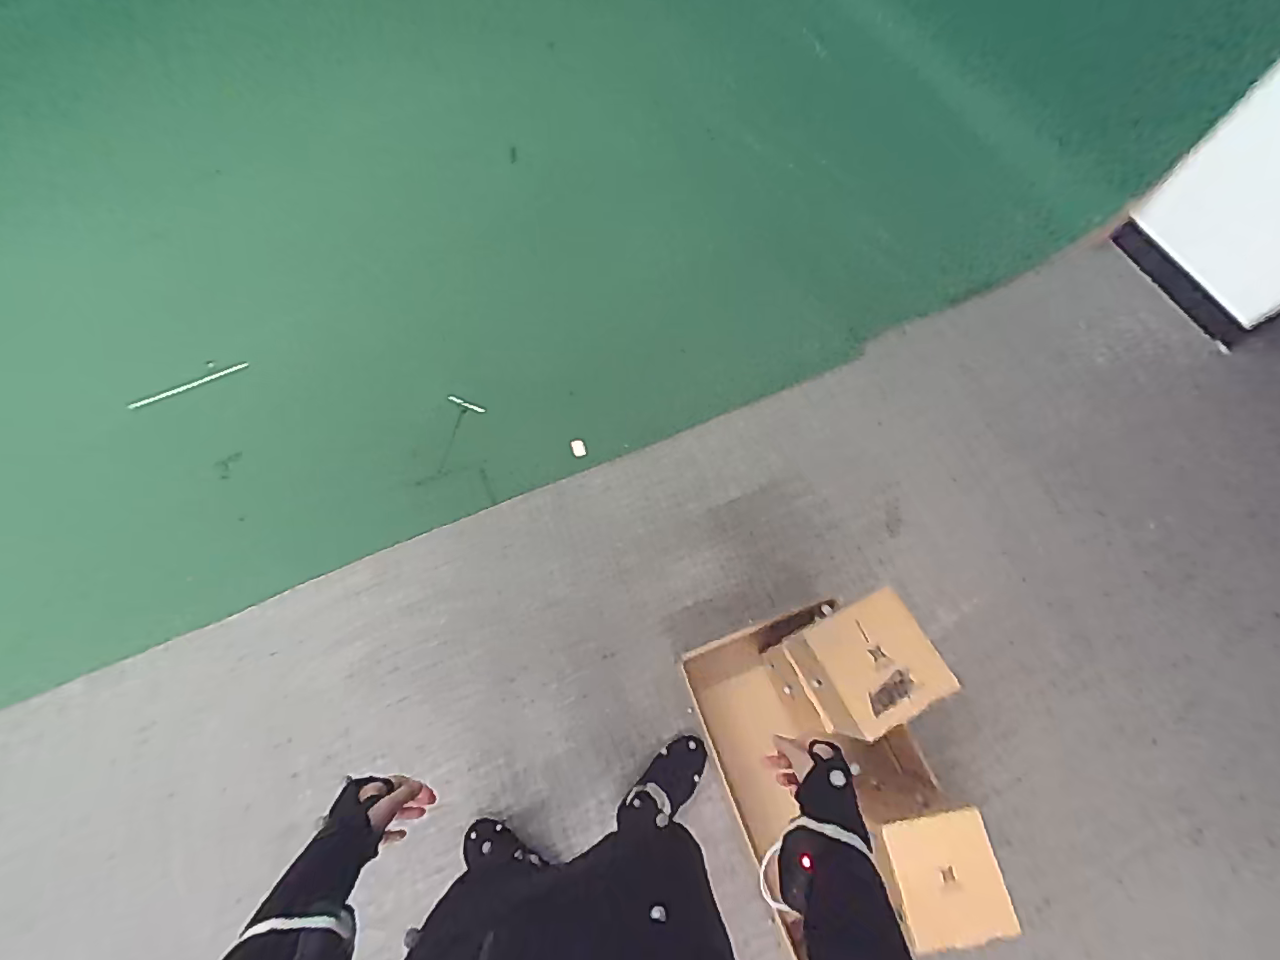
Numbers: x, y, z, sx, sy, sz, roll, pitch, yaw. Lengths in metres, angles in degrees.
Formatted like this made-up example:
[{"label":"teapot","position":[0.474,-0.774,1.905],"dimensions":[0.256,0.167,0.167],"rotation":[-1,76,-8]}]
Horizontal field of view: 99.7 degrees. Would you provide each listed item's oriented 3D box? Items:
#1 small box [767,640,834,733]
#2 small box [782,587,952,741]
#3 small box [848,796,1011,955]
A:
[{"label":"small box","position":[0.367,0.365,1.044],"dimensions":[0.179,0.176,0.168],"rotation":[-23,69,-4]},{"label":"small box","position":[0.359,0.301,0.892],"dimensions":[0.168,0.176,0.179],"rotation":[-26,69,-6]},{"label":"small box","position":[0.479,0.662,0.930],"dimensions":[0.168,0.176,0.179],"rotation":[-10,70,0]}]
